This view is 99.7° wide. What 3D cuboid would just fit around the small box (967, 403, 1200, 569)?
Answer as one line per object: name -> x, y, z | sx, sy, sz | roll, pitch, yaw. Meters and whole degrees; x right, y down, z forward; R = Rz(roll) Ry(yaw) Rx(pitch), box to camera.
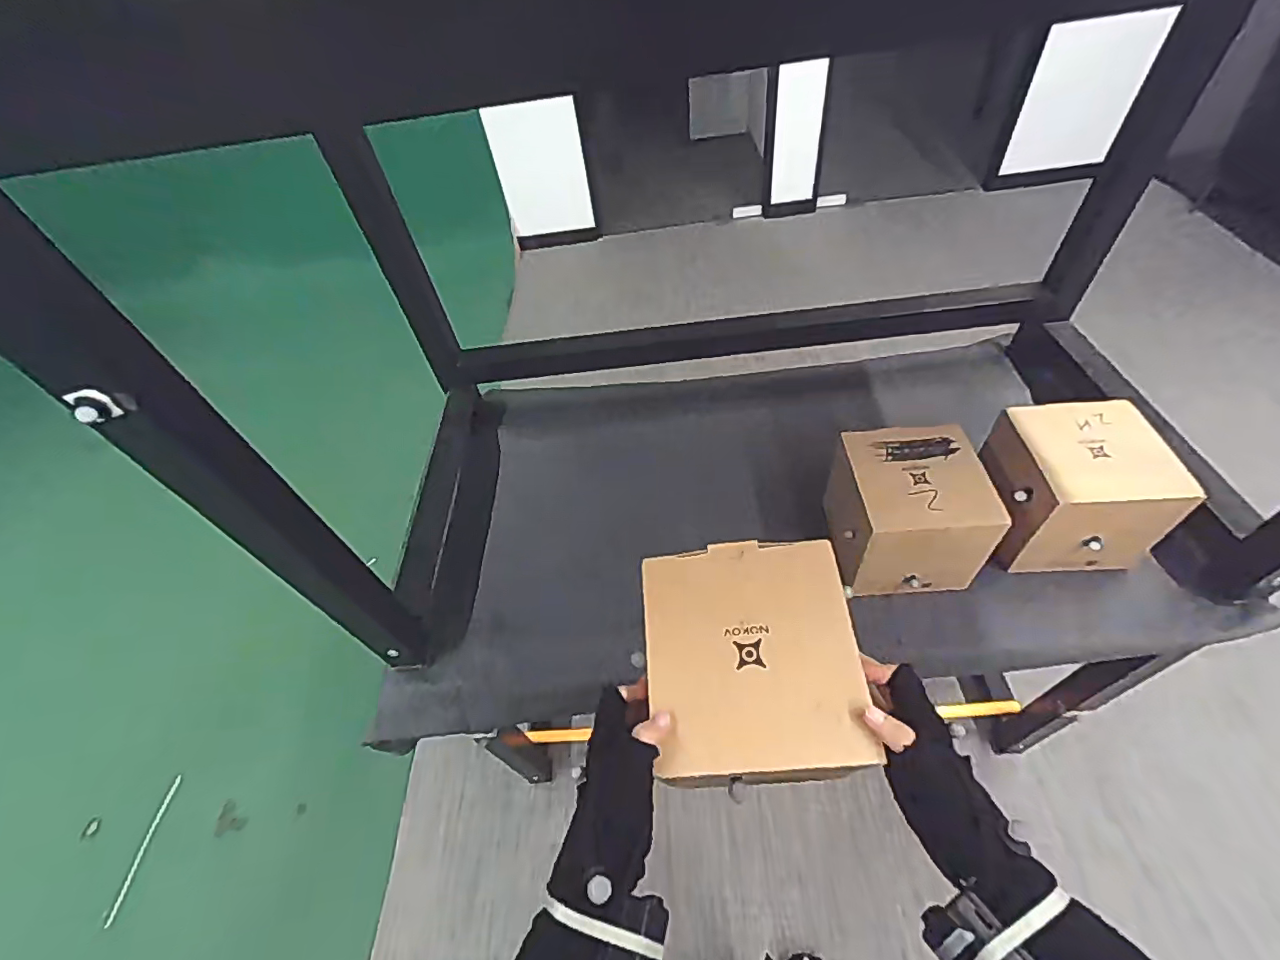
small box -> 0.599, 0.015, 0.764 | 0.168, 0.176, 0.179 | -3, 49, 6
